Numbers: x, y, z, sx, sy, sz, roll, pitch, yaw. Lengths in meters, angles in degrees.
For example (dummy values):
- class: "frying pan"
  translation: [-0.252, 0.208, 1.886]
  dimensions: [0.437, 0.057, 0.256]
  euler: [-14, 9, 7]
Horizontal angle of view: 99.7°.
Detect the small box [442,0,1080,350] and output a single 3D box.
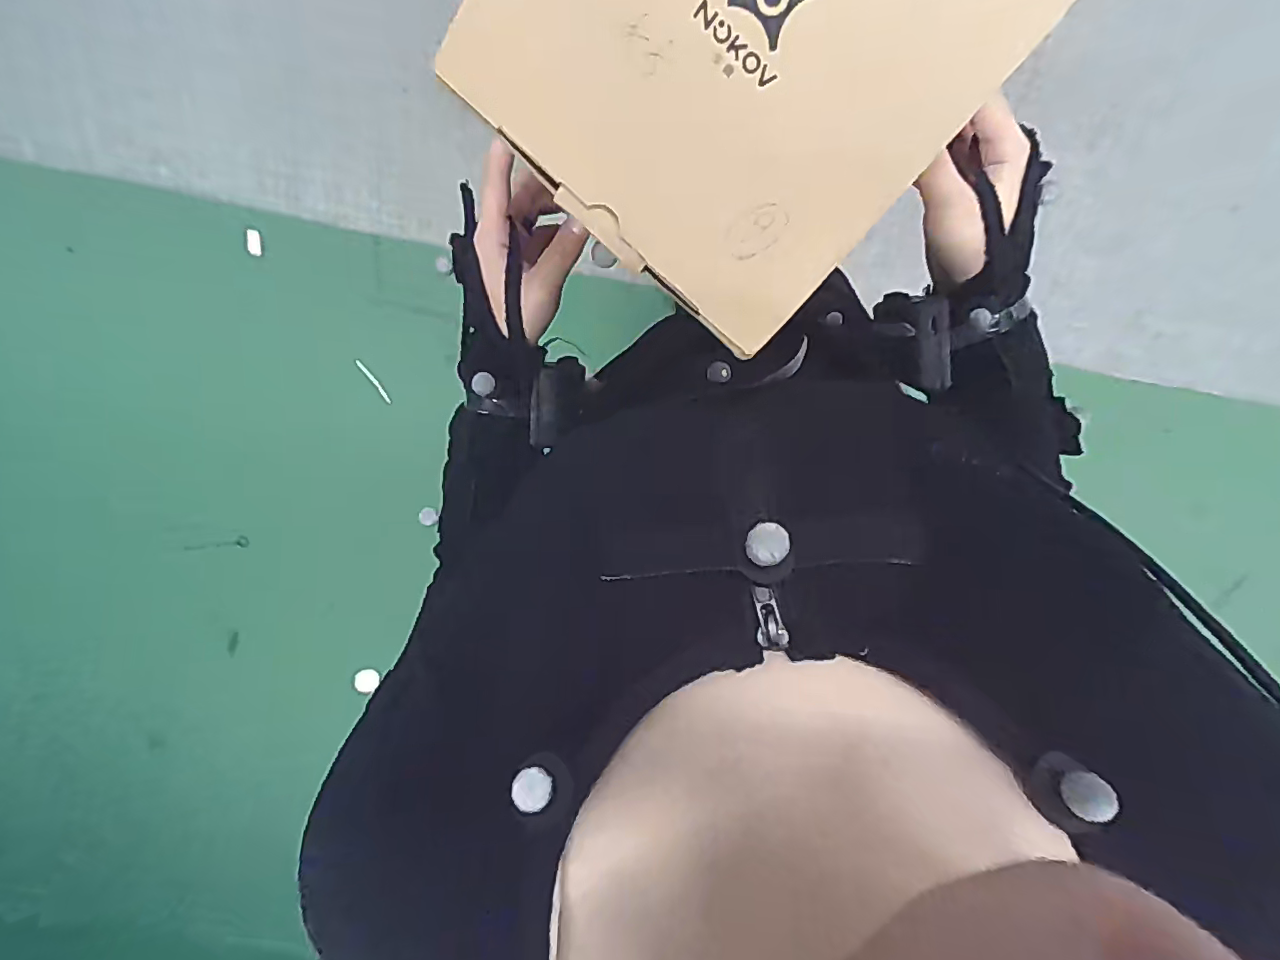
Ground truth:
- class: "small box"
  translation: [0.045, -0.192, 0.267]
  dimensions: [0.168, 0.176, 0.179]
  euler: [39, 108, -11]
